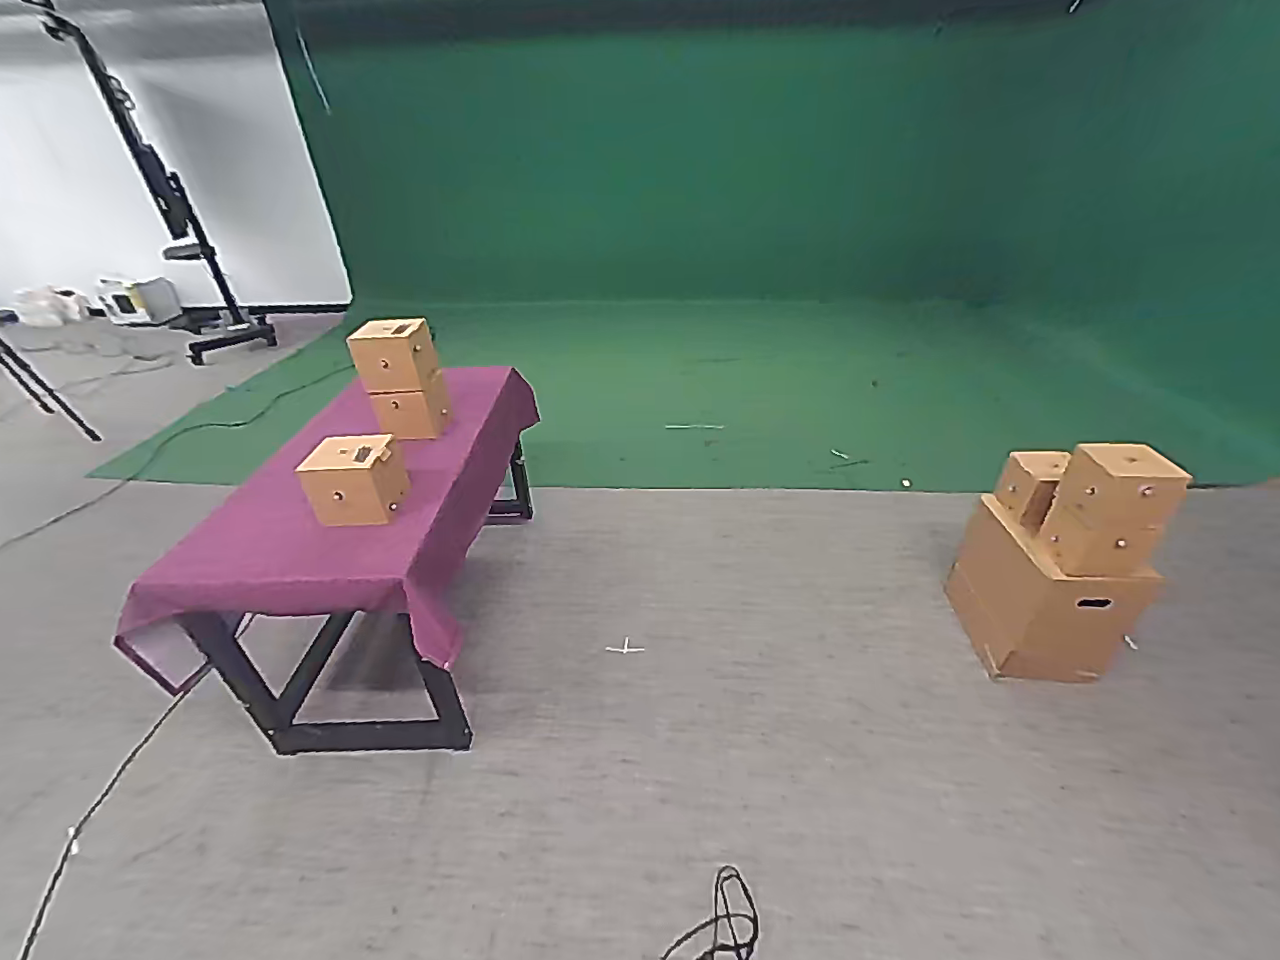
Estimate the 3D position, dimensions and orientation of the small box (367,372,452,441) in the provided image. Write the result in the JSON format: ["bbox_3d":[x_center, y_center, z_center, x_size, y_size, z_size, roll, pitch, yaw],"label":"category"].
[{"bbox_3d":[-0.726,-0.233,1.724,0.179,0.176,0.168,0,34,3],"label":"small box"}]

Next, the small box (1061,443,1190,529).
[{"bbox_3d":[1.257,0.015,1.422,0.179,0.176,0.168,1,33,4],"label":"small box"}]

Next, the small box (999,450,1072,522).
[{"bbox_3d":[1.270,0.021,1.704,0.179,0.176,0.168,-1,36,5],"label":"small box"}]

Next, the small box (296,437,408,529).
[{"bbox_3d":[-0.712,0.008,1.364,0.179,0.176,0.168,-3,33,1],"label":"small box"}]

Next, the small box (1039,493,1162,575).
[{"bbox_3d":[1.274,0.151,1.511,0.179,0.176,0.168,0,33,3],"label":"small box"}]
